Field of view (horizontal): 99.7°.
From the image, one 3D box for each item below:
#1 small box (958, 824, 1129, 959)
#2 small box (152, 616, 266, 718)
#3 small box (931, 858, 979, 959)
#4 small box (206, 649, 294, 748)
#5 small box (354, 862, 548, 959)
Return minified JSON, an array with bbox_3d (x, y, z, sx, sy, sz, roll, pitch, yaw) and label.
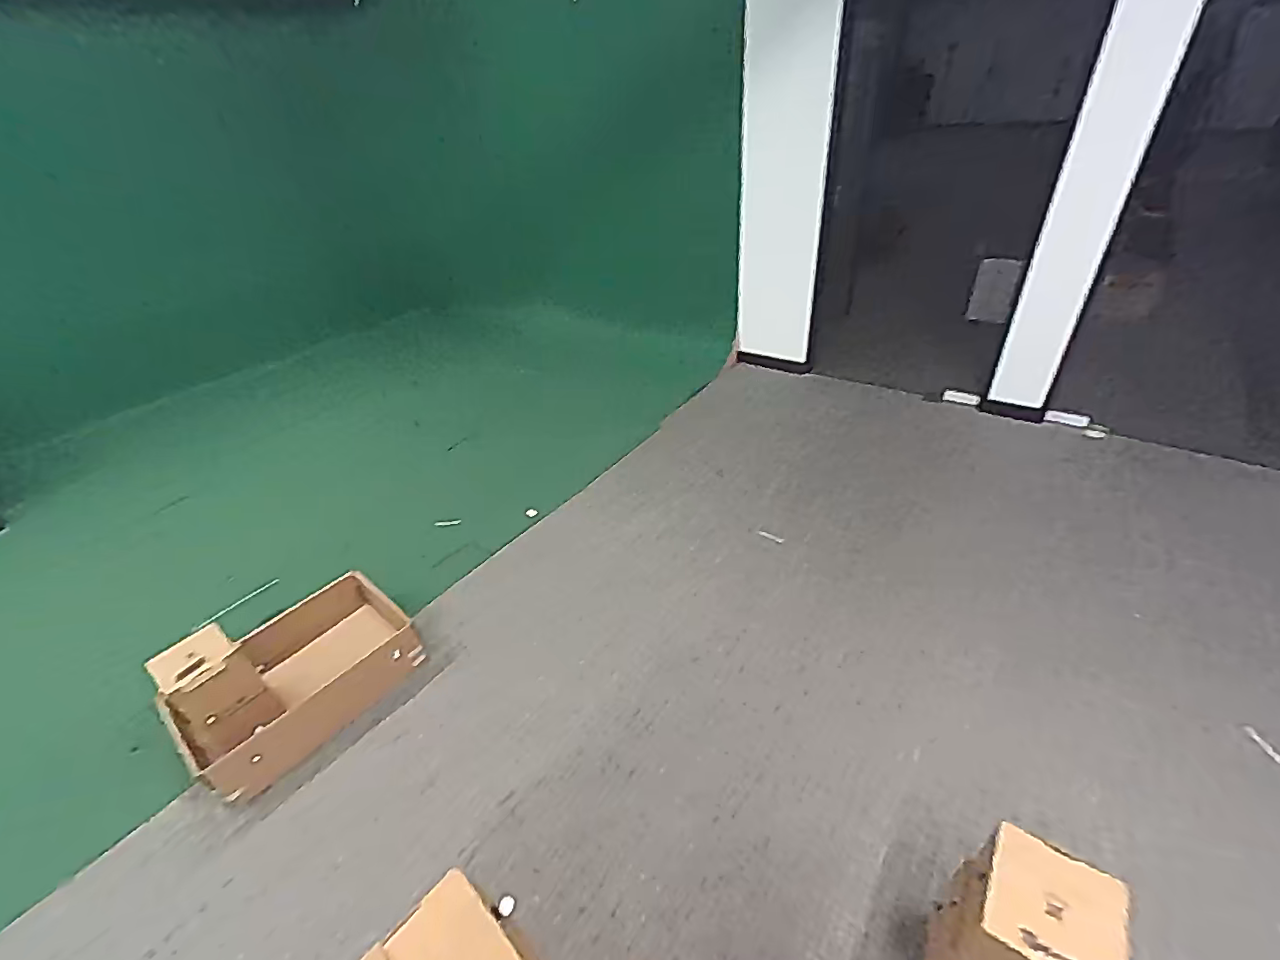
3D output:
[{"bbox_3d":[0.614,0.691,0.833,0.168,0.176,0.179,20,42,31],"label":"small box"},{"bbox_3d":[-1.161,0.512,1.467,0.179,0.176,0.168,22,43,33],"label":"small box"},{"bbox_3d":[0.624,0.819,0.937,0.168,0.176,0.179,19,44,31],"label":"small box"},{"bbox_3d":[-1.156,0.638,1.573,0.179,0.176,0.168,22,44,31],"label":"small box"},{"bbox_3d":[-0.124,0.414,0.366,0.179,0.176,0.168,31,53,31],"label":"small box"}]
